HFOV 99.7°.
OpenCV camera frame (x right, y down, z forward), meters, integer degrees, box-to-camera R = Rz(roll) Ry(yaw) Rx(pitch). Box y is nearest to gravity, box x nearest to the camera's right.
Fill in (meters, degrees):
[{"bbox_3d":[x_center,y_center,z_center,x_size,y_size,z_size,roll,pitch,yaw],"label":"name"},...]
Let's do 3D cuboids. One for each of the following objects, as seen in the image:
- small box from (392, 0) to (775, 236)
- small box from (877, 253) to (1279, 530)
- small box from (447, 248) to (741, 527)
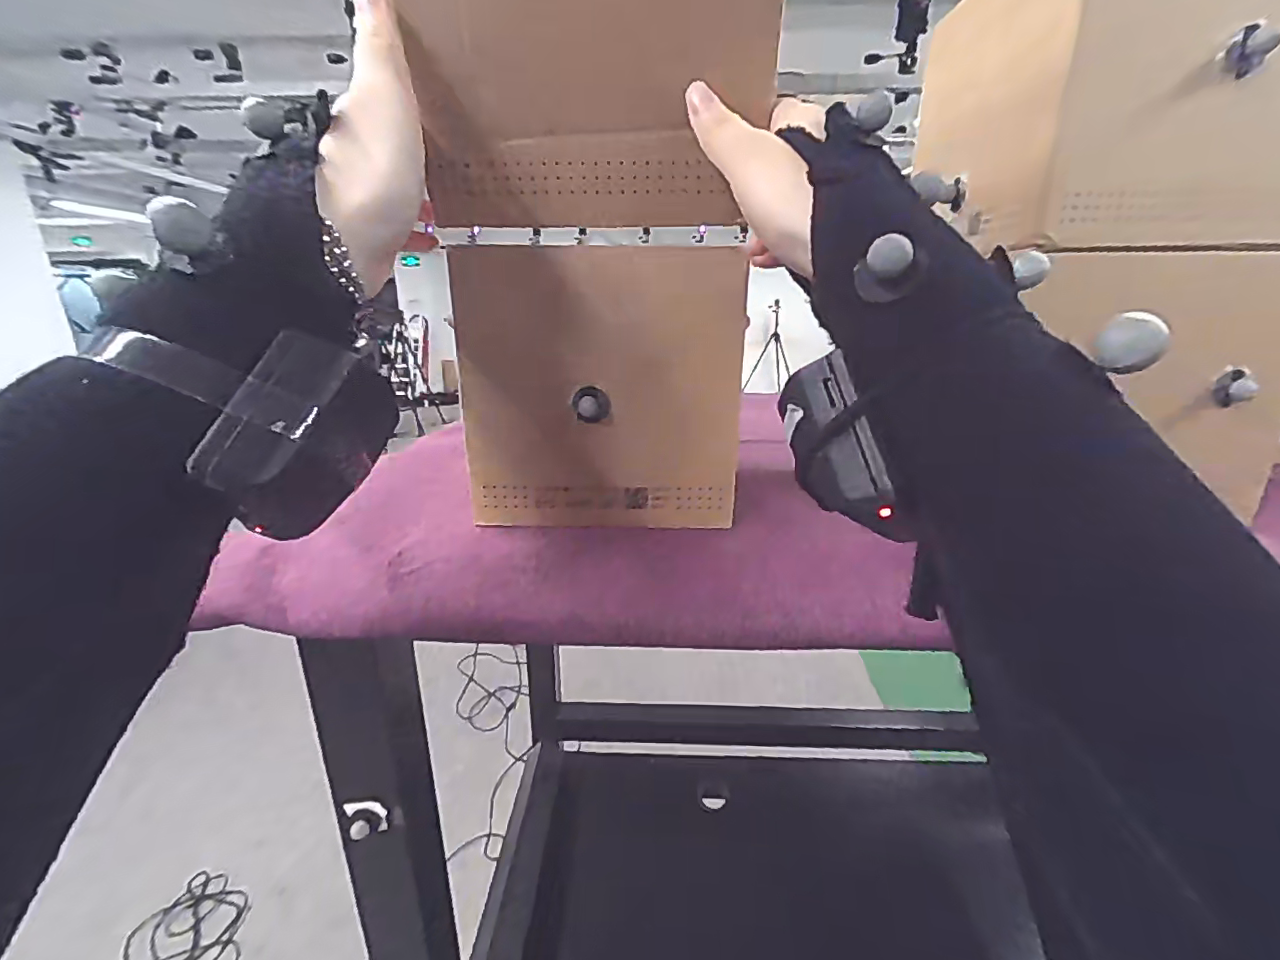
[{"bbox_3d":[-0.025,-0.242,0.295,0.179,0.176,0.168,0,41,1],"label":"small box"},{"bbox_3d":[0.299,-0.069,0.397,0.179,0.176,0.168,-1,18,1],"label":"small box"},{"bbox_3d":[-0.023,-0.072,0.396,0.168,0.176,0.179,1,19,0],"label":"small box"}]
